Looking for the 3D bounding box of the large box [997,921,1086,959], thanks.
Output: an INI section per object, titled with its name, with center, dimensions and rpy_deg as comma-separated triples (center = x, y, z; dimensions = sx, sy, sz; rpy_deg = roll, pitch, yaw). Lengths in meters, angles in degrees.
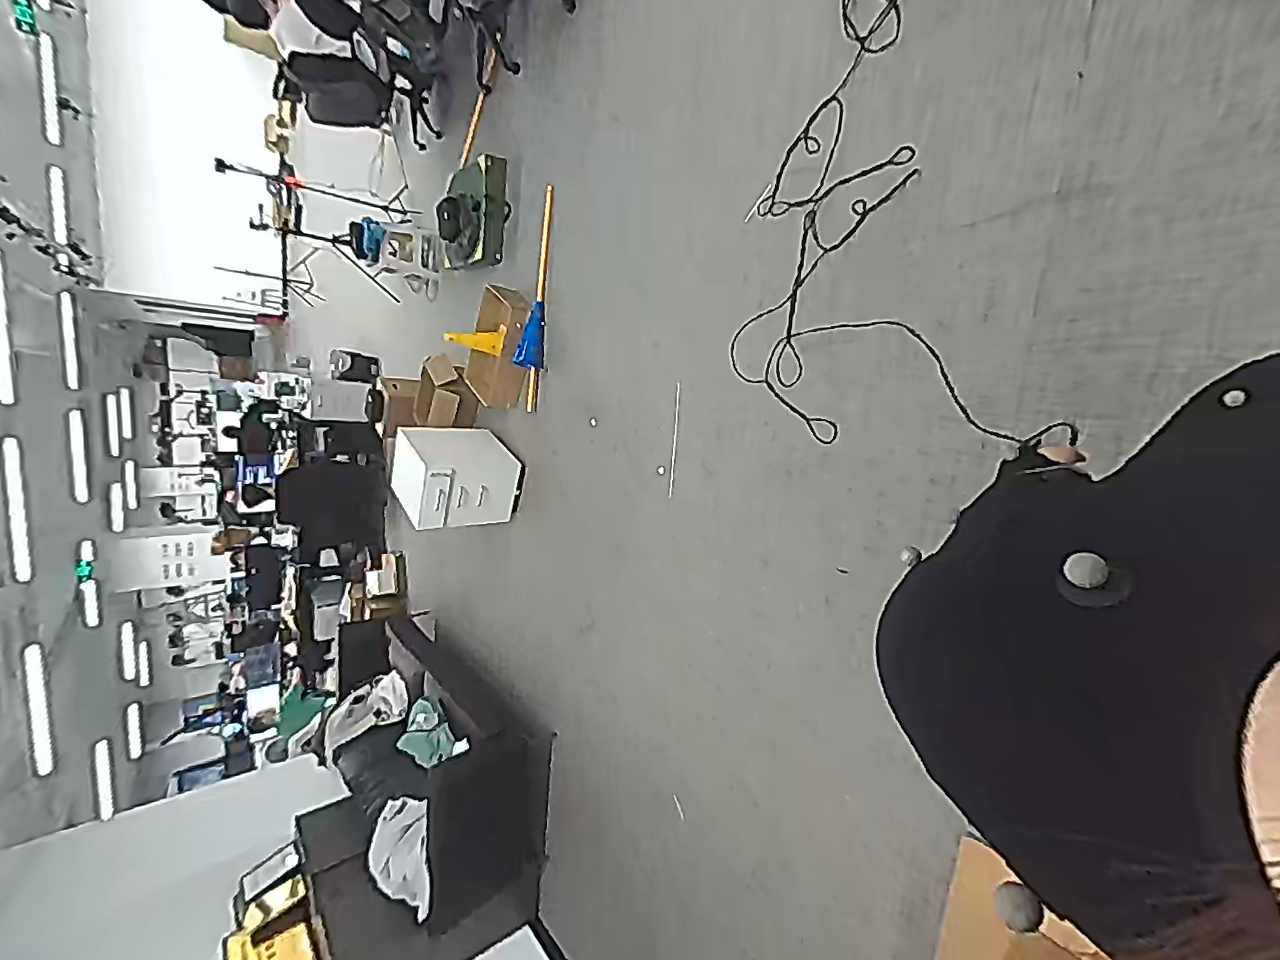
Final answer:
[large box]
center = 0.944, 1.264, 1.111
dimensions = 0.408, 0.320, 0.320
rpy_deg = 14, 103, 50
